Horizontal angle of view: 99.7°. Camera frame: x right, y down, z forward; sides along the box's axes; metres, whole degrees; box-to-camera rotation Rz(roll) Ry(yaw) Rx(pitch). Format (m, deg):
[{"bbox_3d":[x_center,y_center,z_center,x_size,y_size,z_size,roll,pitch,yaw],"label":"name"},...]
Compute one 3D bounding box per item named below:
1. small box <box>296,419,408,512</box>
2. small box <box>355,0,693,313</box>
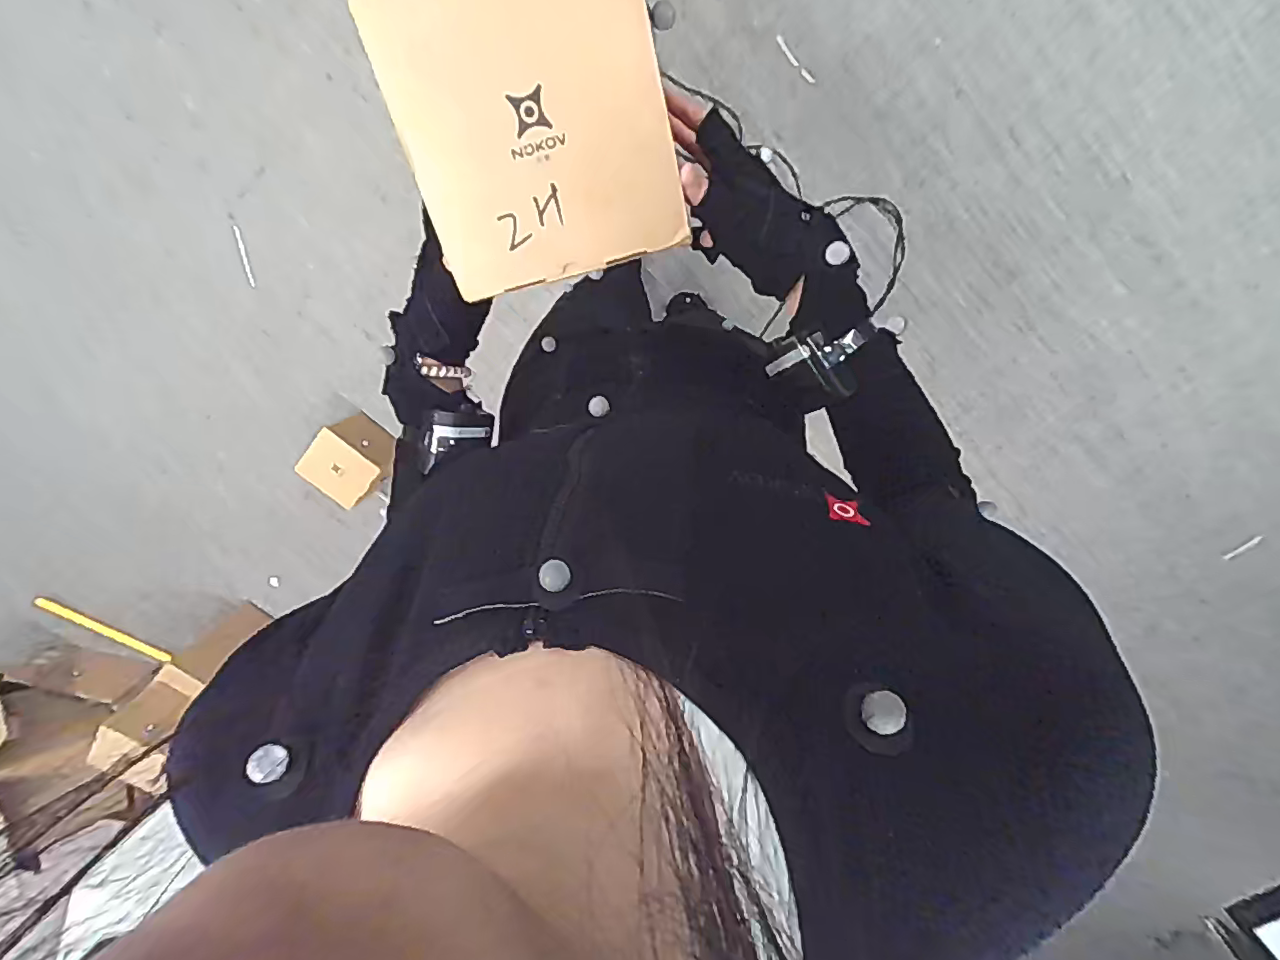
[{"bbox_3d":[-0.779,-0.049,1.480,0.179,0.176,0.168,41,109,-13],"label":"small box"},{"bbox_3d":[-0.061,-0.241,0.399,0.168,0.176,0.179,-11,117,8],"label":"small box"}]
